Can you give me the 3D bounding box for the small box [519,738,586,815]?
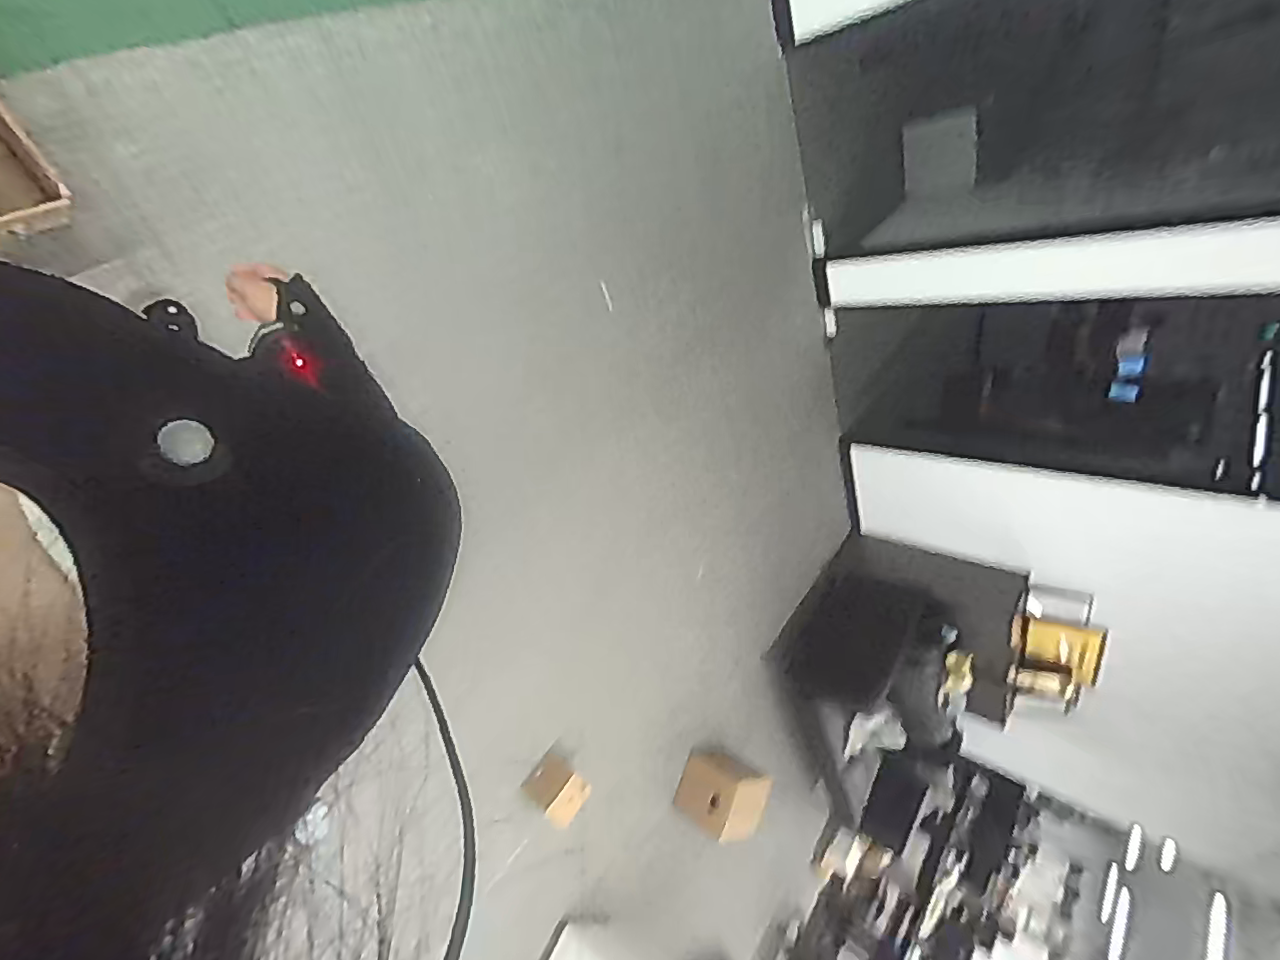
[{"bbox_3d":[-0.354,1.166,2.134,0.179,0.176,0.168,-46,131,-28],"label":"small box"}]
